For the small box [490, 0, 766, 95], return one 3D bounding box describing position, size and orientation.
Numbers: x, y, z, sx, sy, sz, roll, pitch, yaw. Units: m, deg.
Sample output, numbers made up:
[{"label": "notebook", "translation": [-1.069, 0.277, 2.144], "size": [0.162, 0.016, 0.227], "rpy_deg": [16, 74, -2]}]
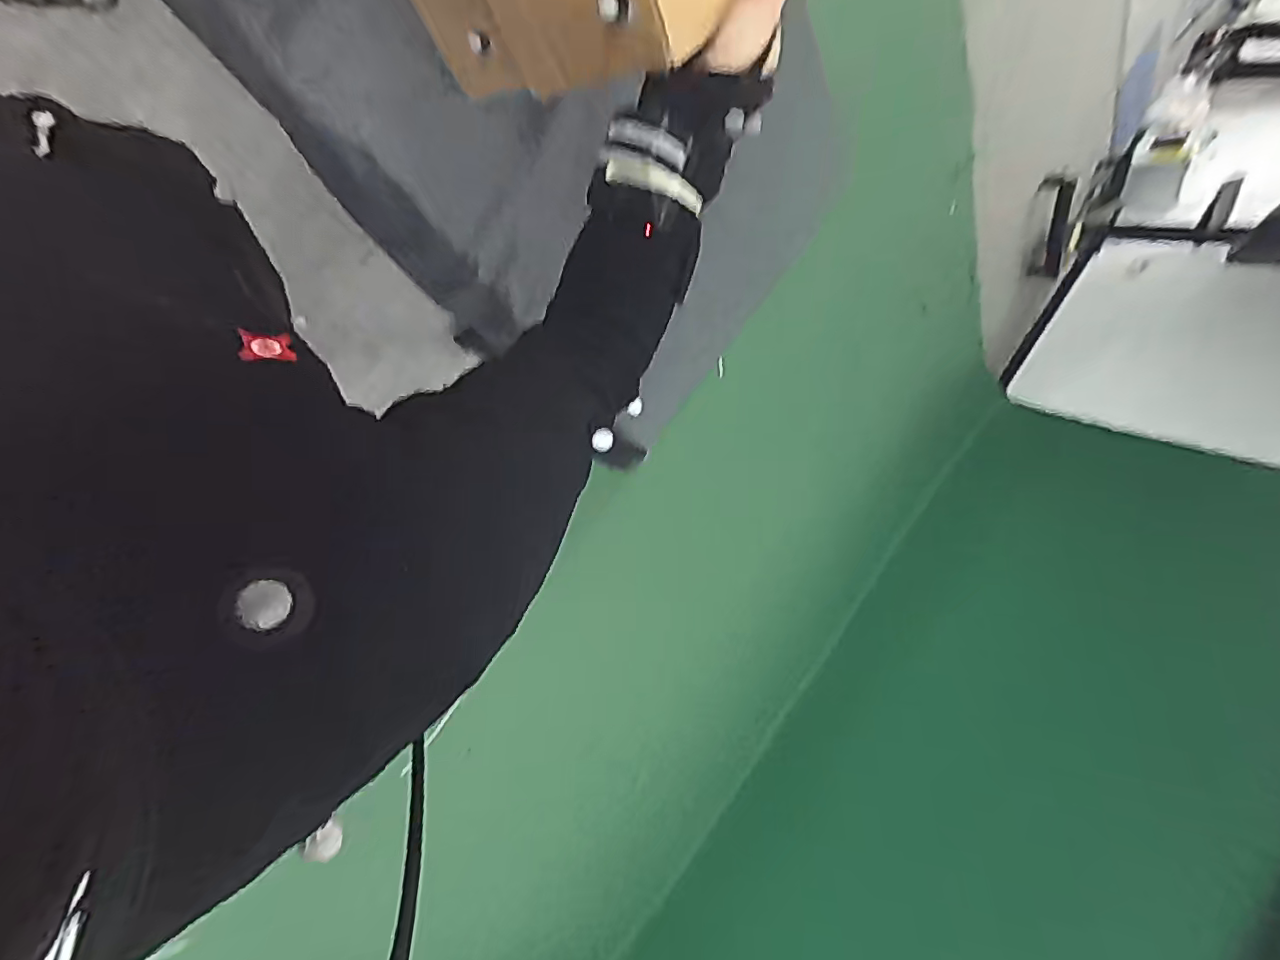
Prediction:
[{"label": "small box", "translation": [-0.013, -0.390, 0.351], "size": [0.168, 0.176, 0.179], "rpy_deg": [-48, 137, -16]}]
